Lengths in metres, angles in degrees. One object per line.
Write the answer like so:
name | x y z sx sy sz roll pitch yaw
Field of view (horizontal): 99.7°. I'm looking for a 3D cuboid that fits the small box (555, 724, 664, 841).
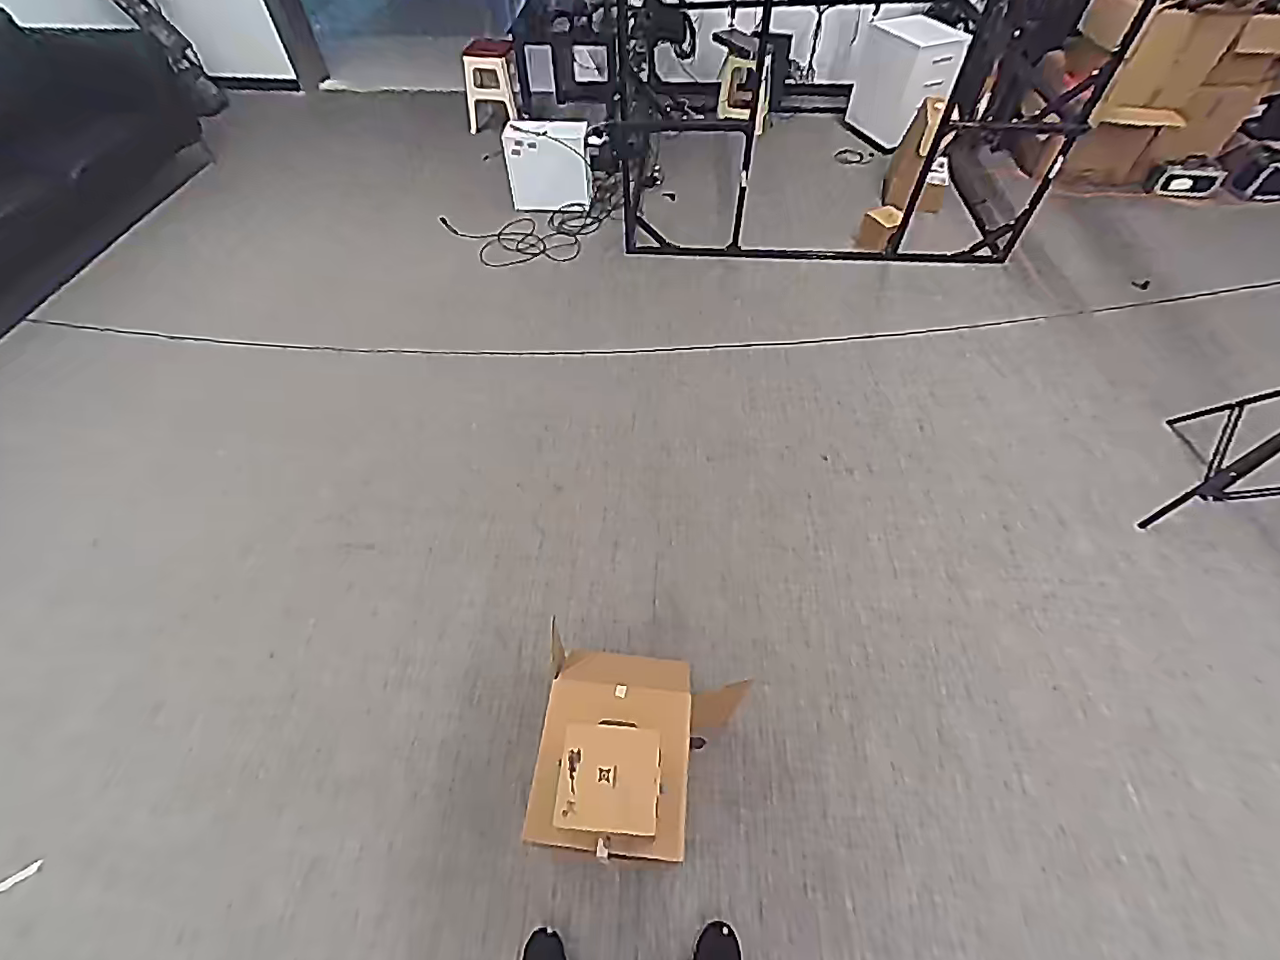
small box | -0.050 0.570 1.012 0.179 0.176 0.168 4 54 3
